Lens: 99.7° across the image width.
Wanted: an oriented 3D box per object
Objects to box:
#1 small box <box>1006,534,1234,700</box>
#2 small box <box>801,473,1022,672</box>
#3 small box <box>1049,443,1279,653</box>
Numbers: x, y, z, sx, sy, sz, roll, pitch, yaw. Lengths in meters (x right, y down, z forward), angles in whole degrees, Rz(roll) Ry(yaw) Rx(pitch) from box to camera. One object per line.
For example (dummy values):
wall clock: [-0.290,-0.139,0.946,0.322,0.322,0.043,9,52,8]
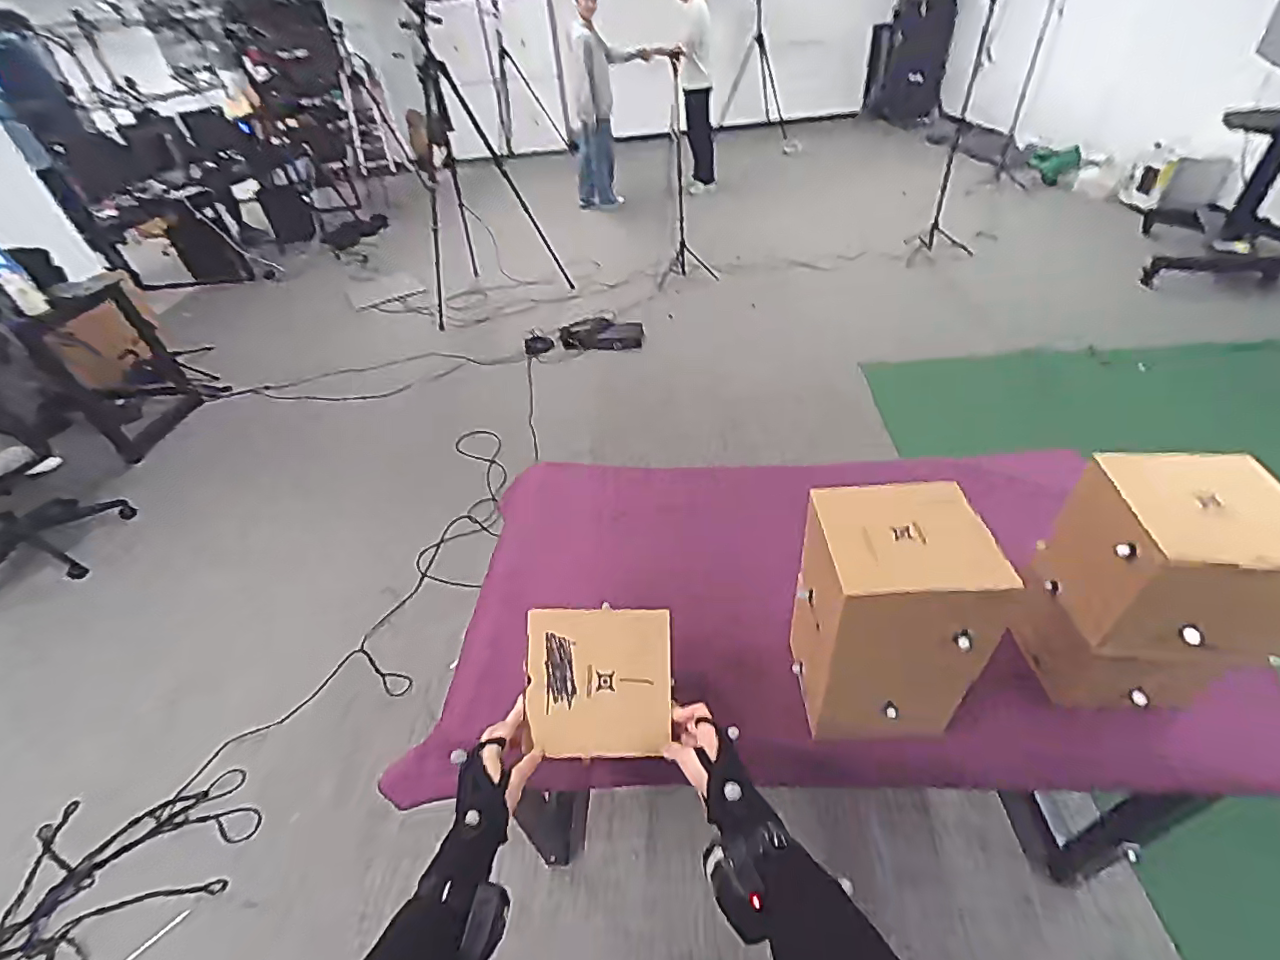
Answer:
small box: [0.656,0.187,0.749,0.179,0.176,0.168,-5,39,6]
small box: [0.298,0.111,0.641,0.179,0.176,0.168,-4,38,6]
small box: [0.623,0.075,0.632,0.168,0.176,0.179,1,41,12]
